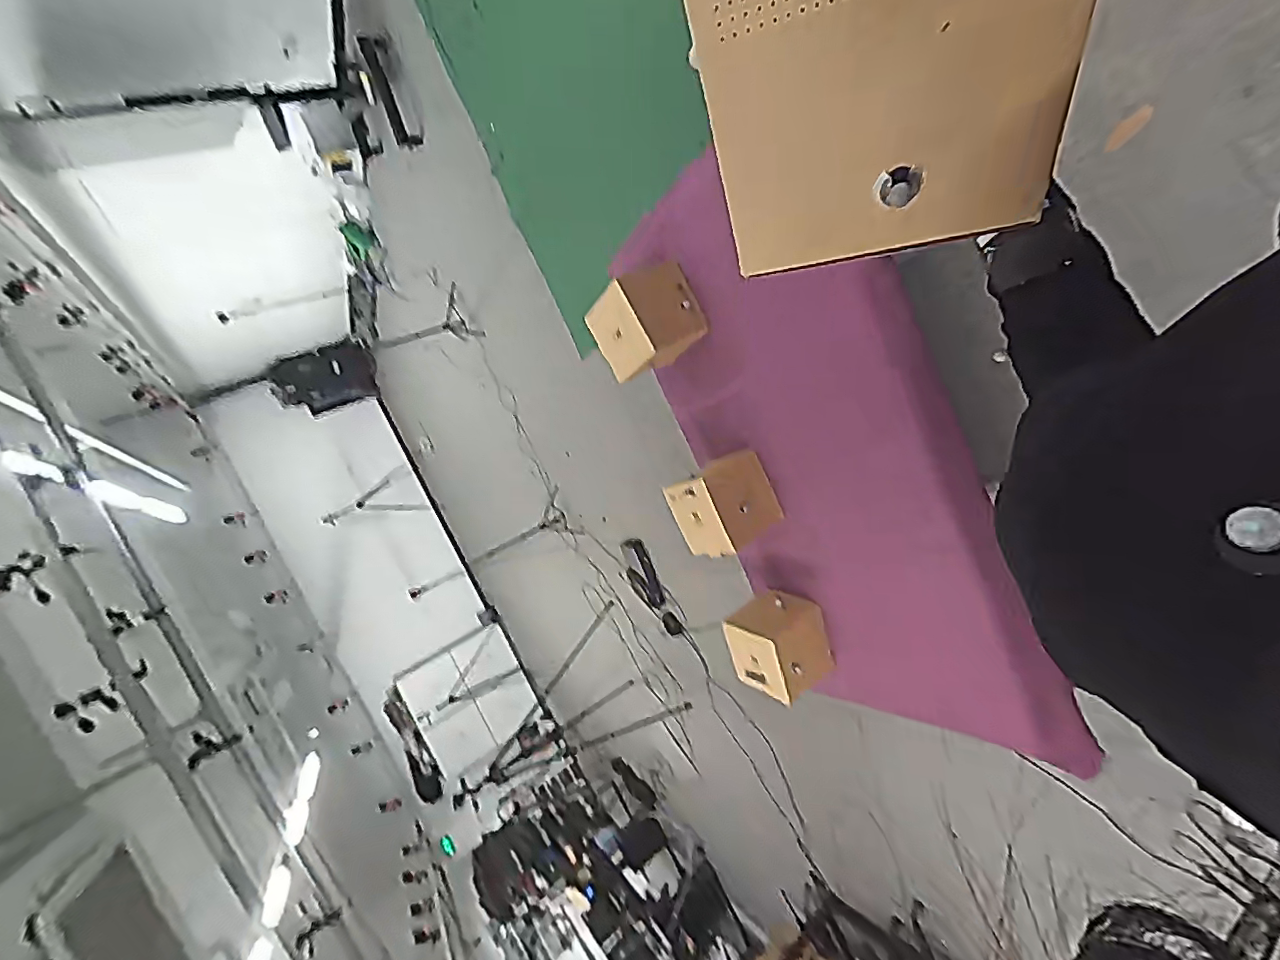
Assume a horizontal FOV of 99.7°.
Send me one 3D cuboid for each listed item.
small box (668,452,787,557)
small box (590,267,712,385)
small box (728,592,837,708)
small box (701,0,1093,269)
[{"bbox_3d":[0.201,0.058,1.230,0.168,0.176,0.179,-19,99,59],"label":"small box"},{"bbox_3d":[0.024,-0.333,1.177,0.168,0.176,0.179,61,150,-2],"label":"small box"},{"bbox_3d":[0.344,0.395,1.288,0.168,0.176,0.179,5,117,56],"label":"small box"},{"bbox_3d":[0.138,-0.262,0.320,0.179,0.168,0.176,-5,144,19],"label":"small box"}]
